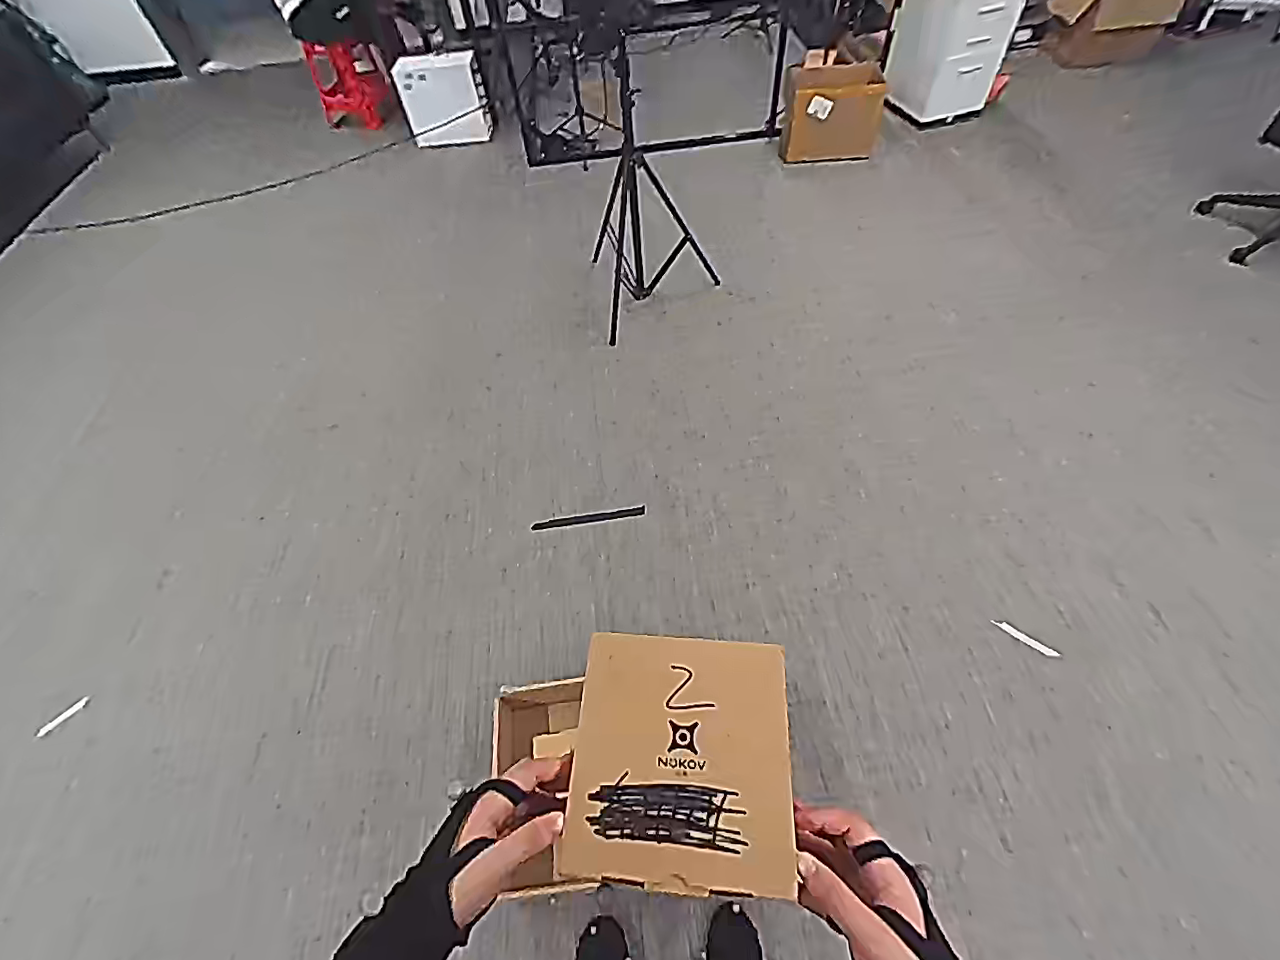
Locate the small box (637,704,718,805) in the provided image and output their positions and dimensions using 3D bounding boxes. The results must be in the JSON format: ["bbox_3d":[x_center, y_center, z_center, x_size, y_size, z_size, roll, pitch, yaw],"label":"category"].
[{"bbox_3d":[0.080,0.614,1.205,0.168,0.176,0.179,-4,55,2],"label":"small box"}]

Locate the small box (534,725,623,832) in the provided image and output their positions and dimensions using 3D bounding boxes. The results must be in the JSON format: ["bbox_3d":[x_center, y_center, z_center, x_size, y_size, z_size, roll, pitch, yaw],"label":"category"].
[{"bbox_3d":[-0.133,0.659,1.187,0.168,0.176,0.179,-9,55,-3],"label":"small box"}]
